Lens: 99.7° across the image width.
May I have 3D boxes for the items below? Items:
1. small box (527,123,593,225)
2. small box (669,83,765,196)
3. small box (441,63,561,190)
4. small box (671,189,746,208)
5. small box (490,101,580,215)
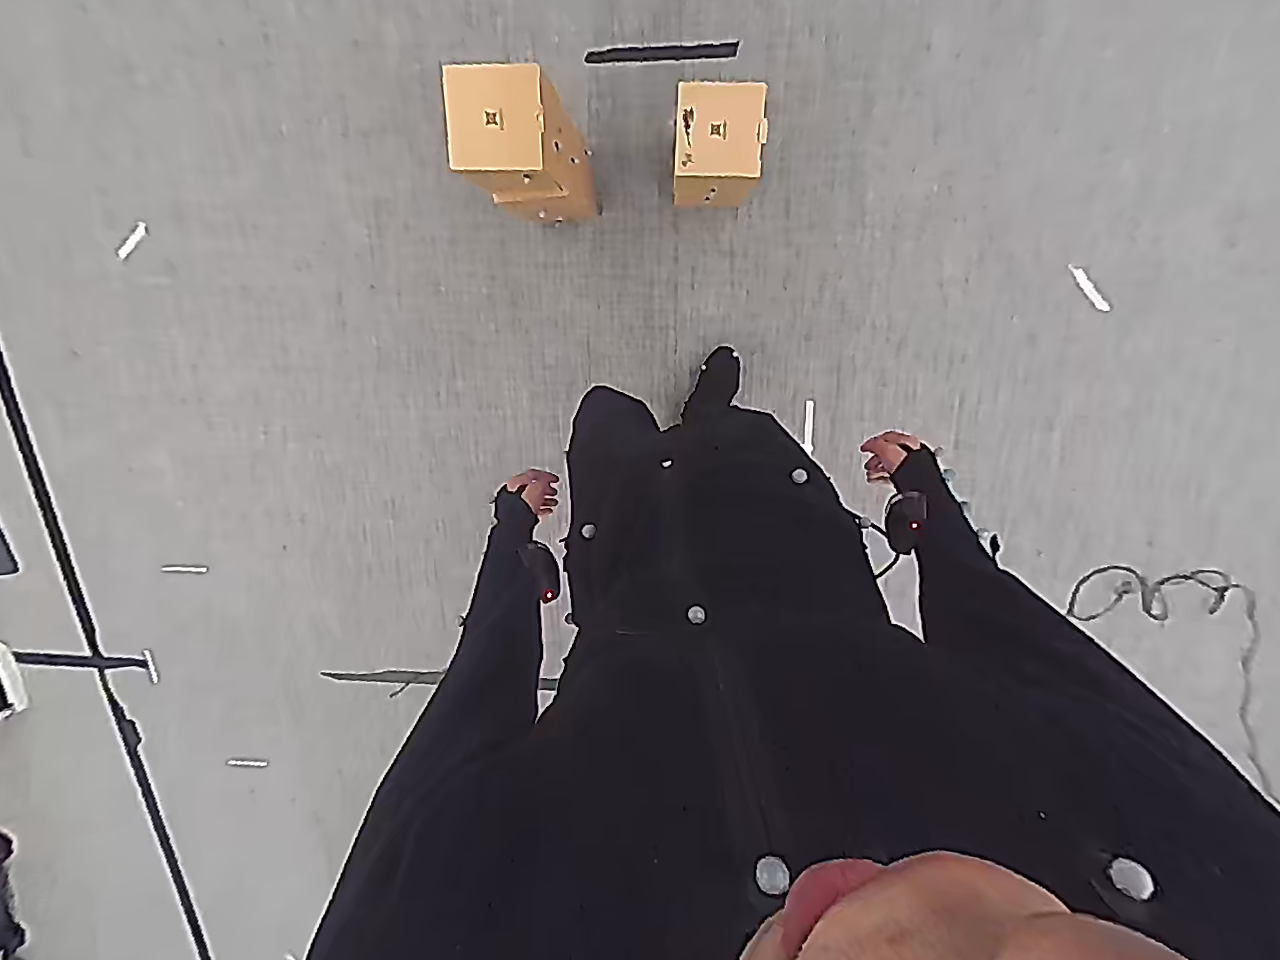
[{"bbox_3d":[-0.215,-0.747,1.337,0.168,0.176,0.179,-5,107,5],"label":"small box"},{"bbox_3d":[0.156,-0.716,1.153,0.179,0.176,0.168,3,107,1],"label":"small box"},{"bbox_3d":[-0.253,-0.658,1.025,0.179,0.176,0.168,2,107,3],"label":"small box"},{"bbox_3d":[0.165,-0.764,1.310,0.179,0.176,0.168,2,107,2],"label":"small box"},{"bbox_3d":[-0.232,-0.695,1.182,0.168,0.176,0.179,-3,107,5],"label":"small box"}]
